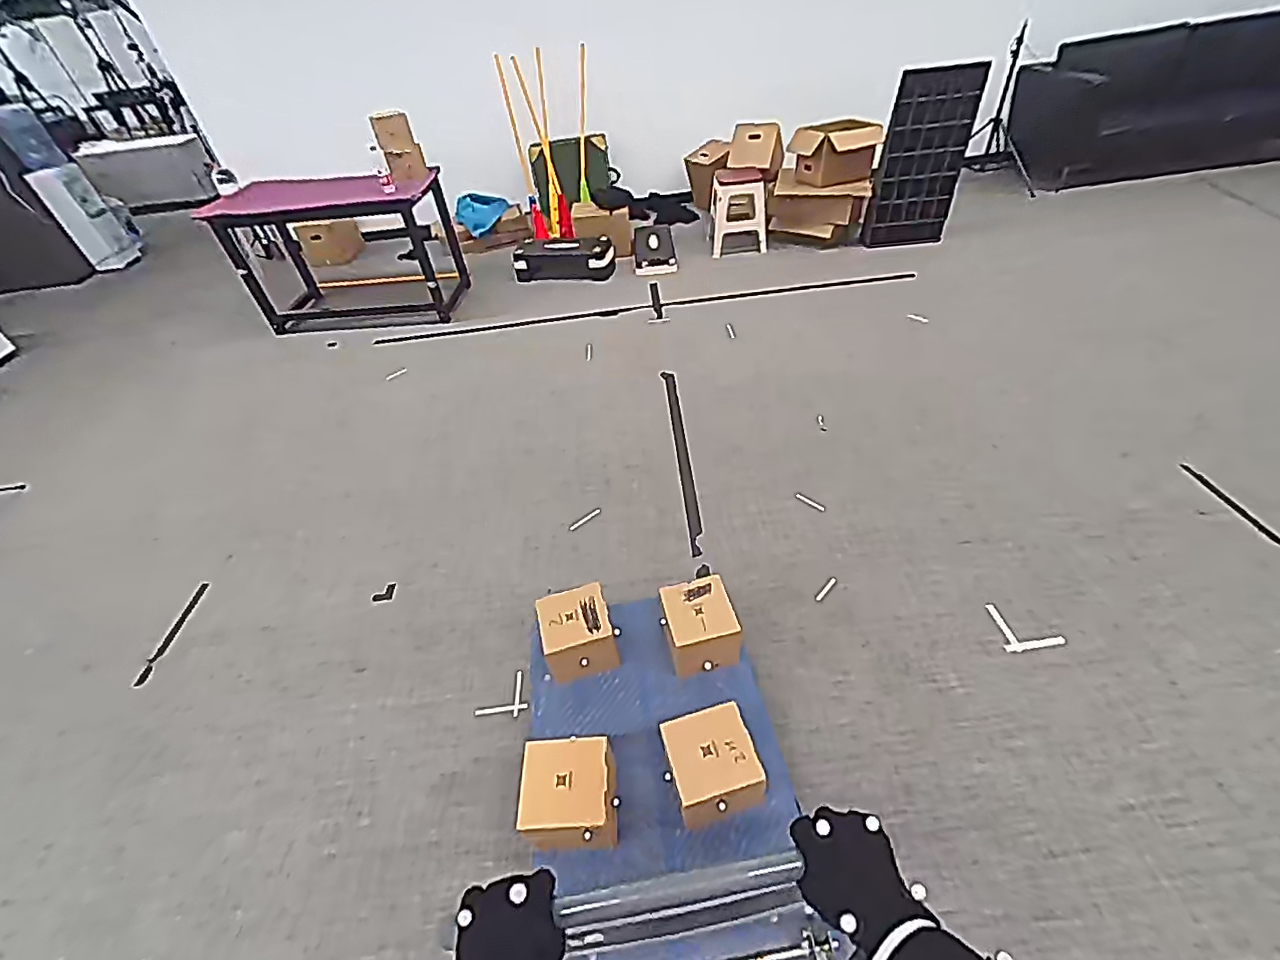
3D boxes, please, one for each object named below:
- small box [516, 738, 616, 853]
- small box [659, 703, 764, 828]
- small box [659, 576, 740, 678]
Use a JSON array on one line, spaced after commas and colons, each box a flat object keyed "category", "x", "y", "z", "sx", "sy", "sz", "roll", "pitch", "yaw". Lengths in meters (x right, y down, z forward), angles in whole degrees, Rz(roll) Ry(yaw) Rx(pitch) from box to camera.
[{"category": "small box", "x": -0.147, "y": 0.669, "z": 1.142, "sx": 0.179, "sy": 0.176, "sz": 0.168, "roll": -5, "pitch": 43, "yaw": 1}, {"category": "small box", "x": 0.152, "y": 0.613, "z": 1.156, "sx": 0.179, "sy": 0.176, "sz": 0.168, "roll": -15, "pitch": 44, "yaw": -7}, {"category": "small box", "x": 0.151, "y": 0.381, "z": 1.401, "sx": 0.168, "sy": 0.176, "sz": 0.179, "roll": -13, "pitch": 44, "yaw": -5}]
